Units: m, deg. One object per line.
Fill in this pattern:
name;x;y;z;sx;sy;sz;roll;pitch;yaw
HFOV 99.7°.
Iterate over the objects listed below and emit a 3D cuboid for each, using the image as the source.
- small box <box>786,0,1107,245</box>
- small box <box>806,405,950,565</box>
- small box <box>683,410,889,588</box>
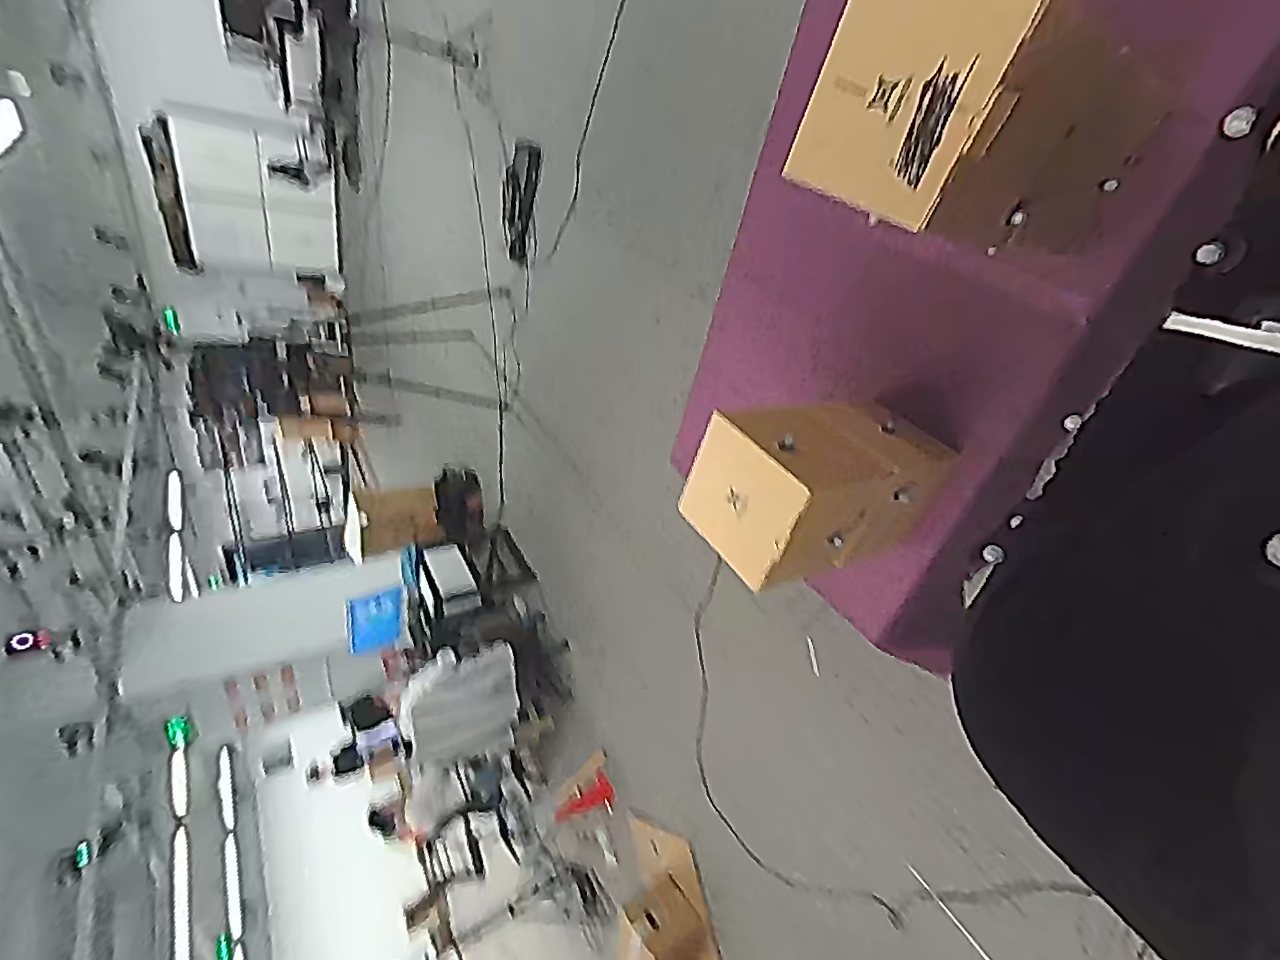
small box;0.284;-0.339;0.518;0.179;0.176;0.168;51;136;38
small box;0.332;-0.002;0.822;0.168;0.176;0.179;49;134;39
small box;0.193;0.015;0.738;0.179;0.176;0.168;48;134;38
